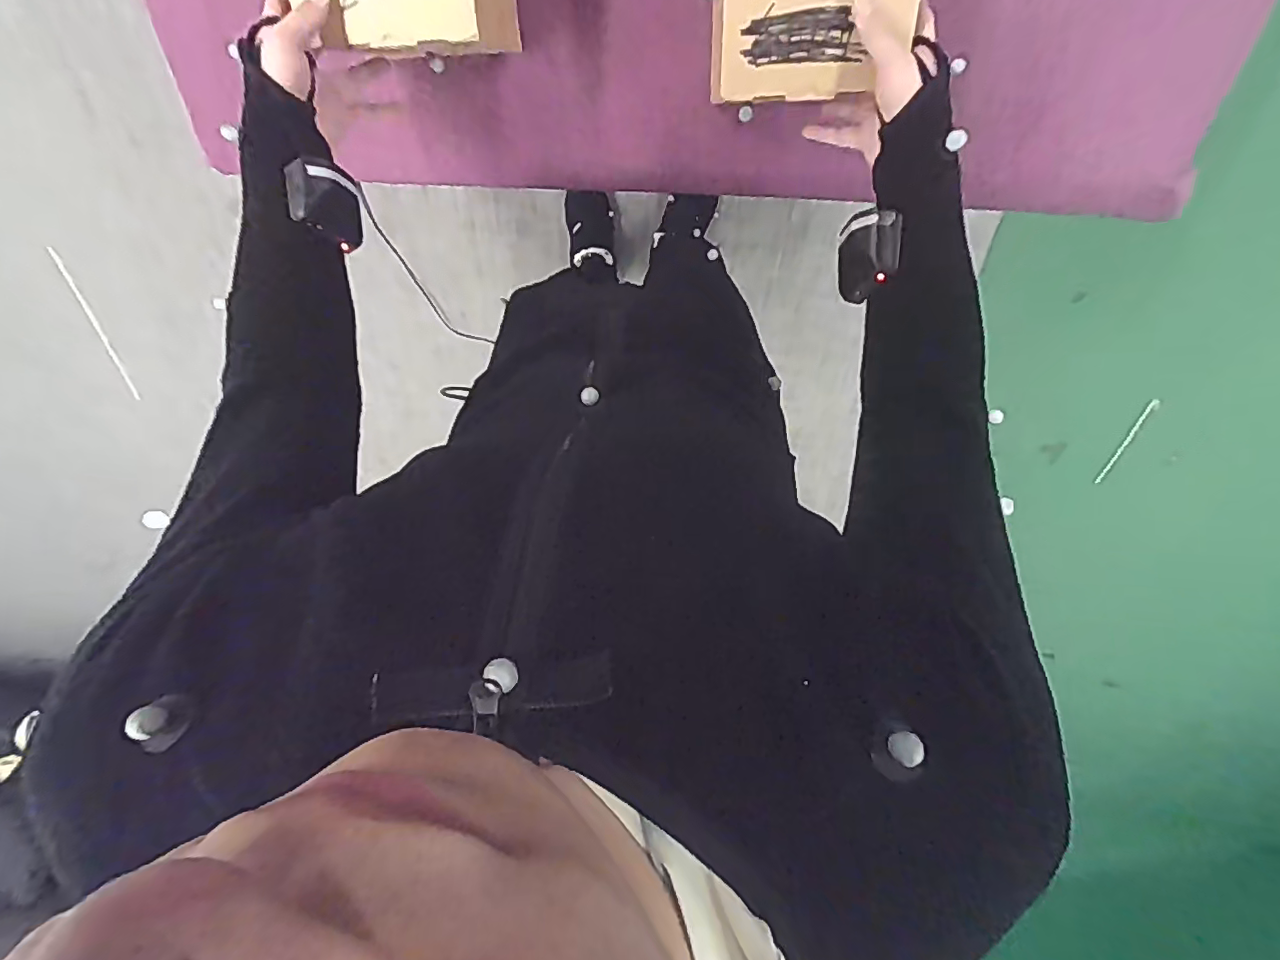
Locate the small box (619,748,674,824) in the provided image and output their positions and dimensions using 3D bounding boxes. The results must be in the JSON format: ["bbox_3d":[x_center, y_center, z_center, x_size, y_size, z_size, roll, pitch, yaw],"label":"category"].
[{"bbox_3d":[0.027,1.092,1.930,0.168,0.176,0.179,12,126,-4],"label":"small box"}]

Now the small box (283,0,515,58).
[{"bbox_3d":[-0.223,-0.502,0.493,0.168,0.176,0.179,0,126,3],"label":"small box"}]
